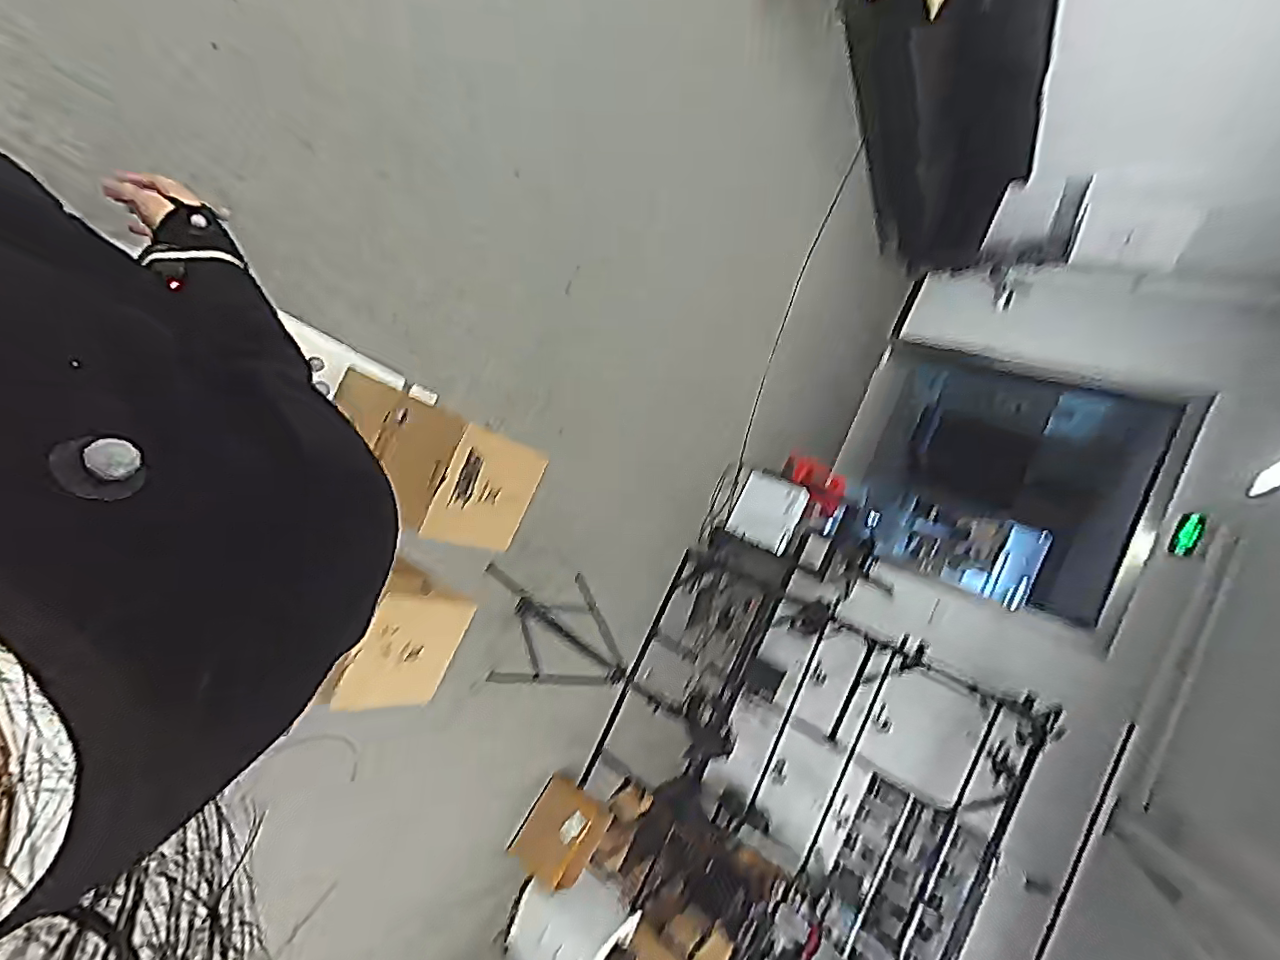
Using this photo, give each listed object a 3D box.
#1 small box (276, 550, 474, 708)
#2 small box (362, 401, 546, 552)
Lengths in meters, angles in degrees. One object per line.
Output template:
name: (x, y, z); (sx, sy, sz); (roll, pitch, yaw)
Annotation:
small box: (-0.398, 0.221, 0.819); (0.179, 0.176, 0.168); (35, 80, -57)
small box: (-0.287, -0.007, 0.834); (0.179, 0.176, 0.168); (28, 86, -57)
